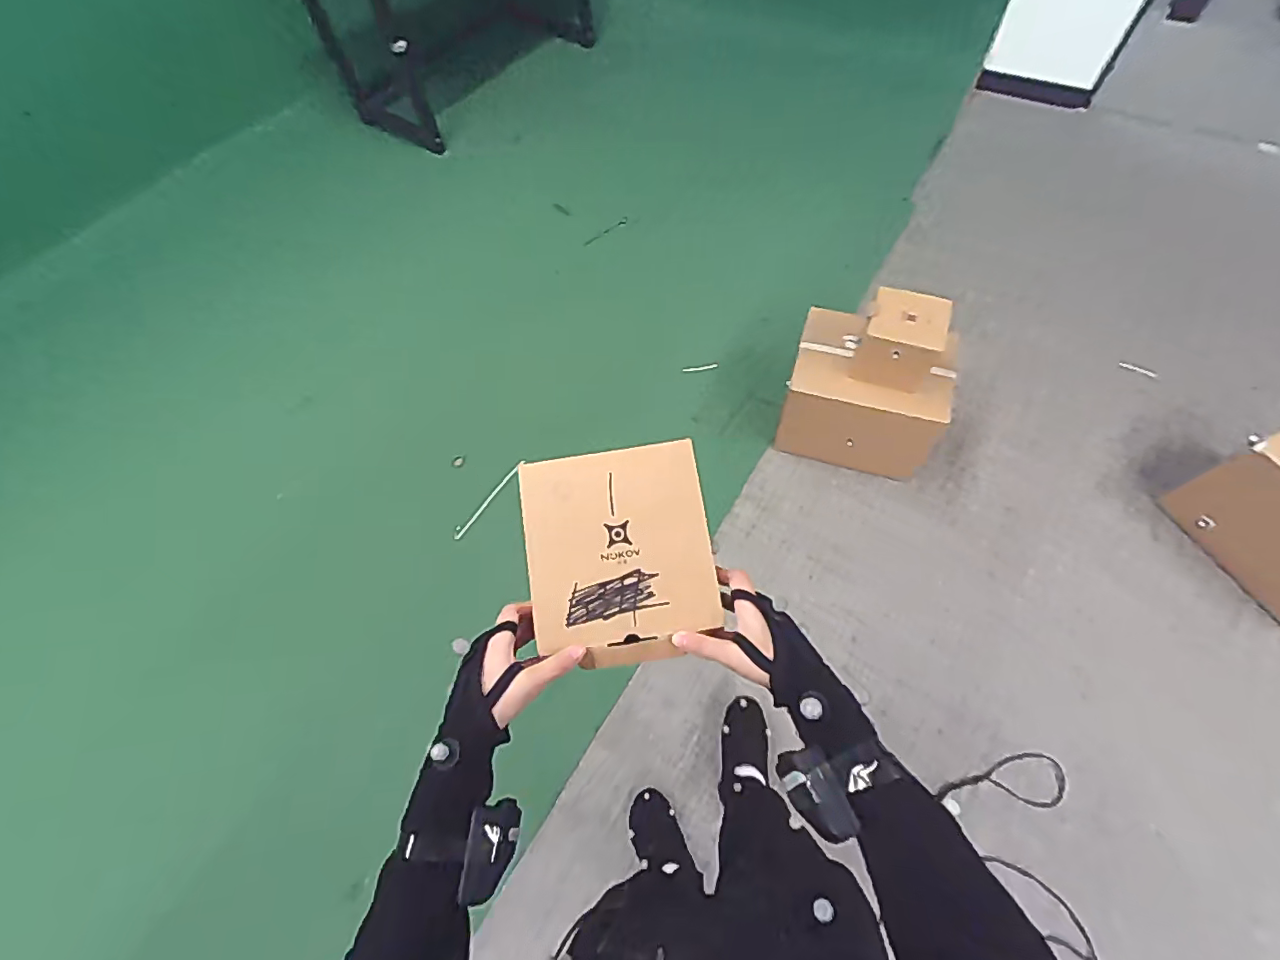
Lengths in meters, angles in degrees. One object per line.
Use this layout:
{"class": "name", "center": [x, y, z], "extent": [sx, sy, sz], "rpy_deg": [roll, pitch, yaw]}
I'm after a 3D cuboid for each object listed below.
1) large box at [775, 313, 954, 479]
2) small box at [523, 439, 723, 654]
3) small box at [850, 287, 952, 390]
{"class": "large box", "center": [0.638, -0.238, 1.576], "extent": [0.408, 0.320, 0.320], "rpy_deg": [14, 63, 13]}
{"class": "small box", "center": [-0.015, 0.074, 0.561], "extent": [0.168, 0.176, 0.179], "rpy_deg": [-8, 76, -1]}
{"class": "small box", "center": [0.646, -0.349, 1.355], "extent": [0.179, 0.176, 0.168], "rpy_deg": [18, 66, 13]}
